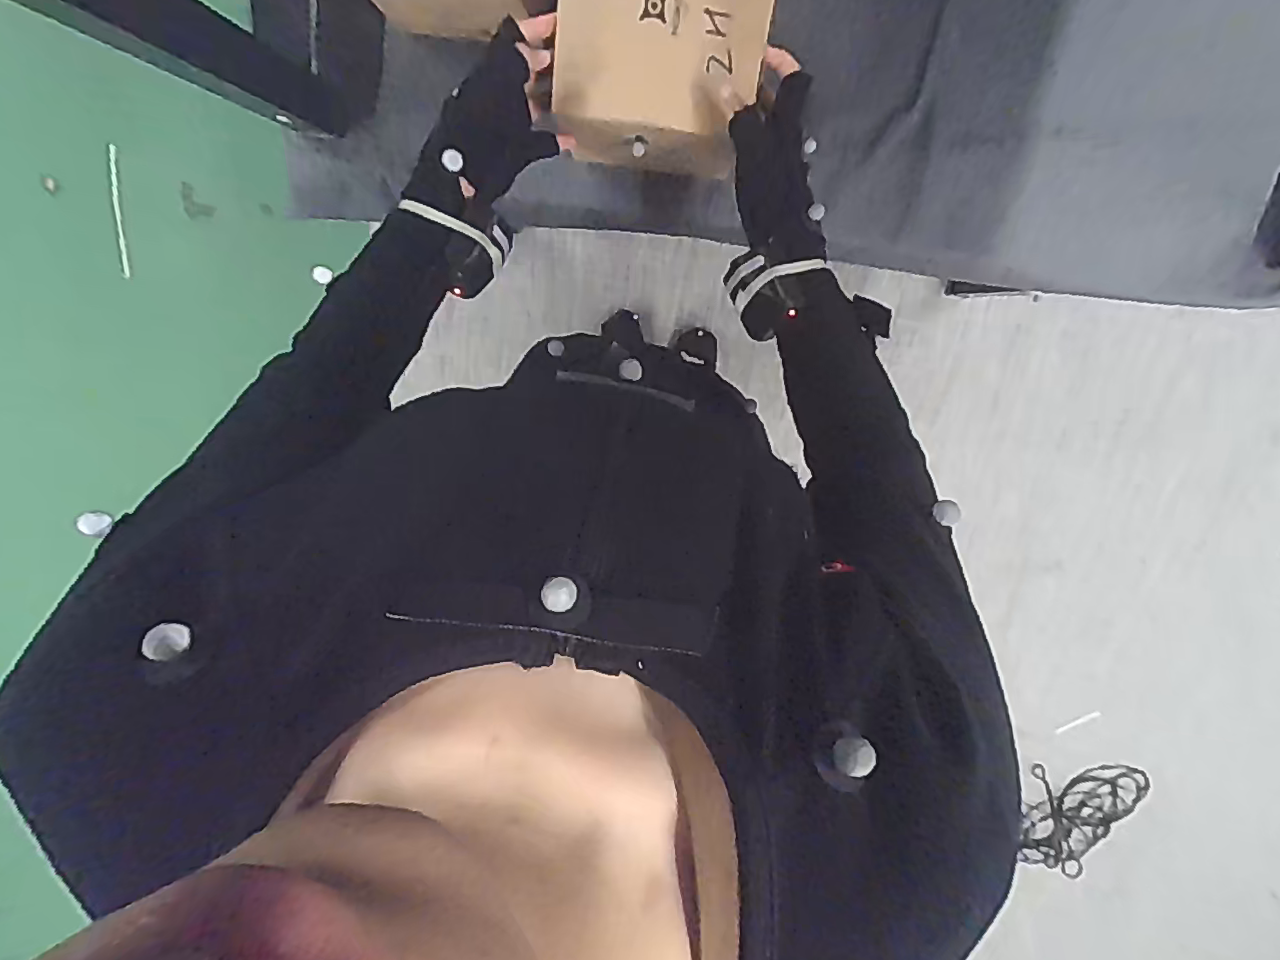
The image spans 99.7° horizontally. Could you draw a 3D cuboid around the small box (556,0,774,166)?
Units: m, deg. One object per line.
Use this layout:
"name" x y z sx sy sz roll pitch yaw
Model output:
"small box" 0.024 -0.418 0.520 0.179 0.176 0.168 6 110 -2
